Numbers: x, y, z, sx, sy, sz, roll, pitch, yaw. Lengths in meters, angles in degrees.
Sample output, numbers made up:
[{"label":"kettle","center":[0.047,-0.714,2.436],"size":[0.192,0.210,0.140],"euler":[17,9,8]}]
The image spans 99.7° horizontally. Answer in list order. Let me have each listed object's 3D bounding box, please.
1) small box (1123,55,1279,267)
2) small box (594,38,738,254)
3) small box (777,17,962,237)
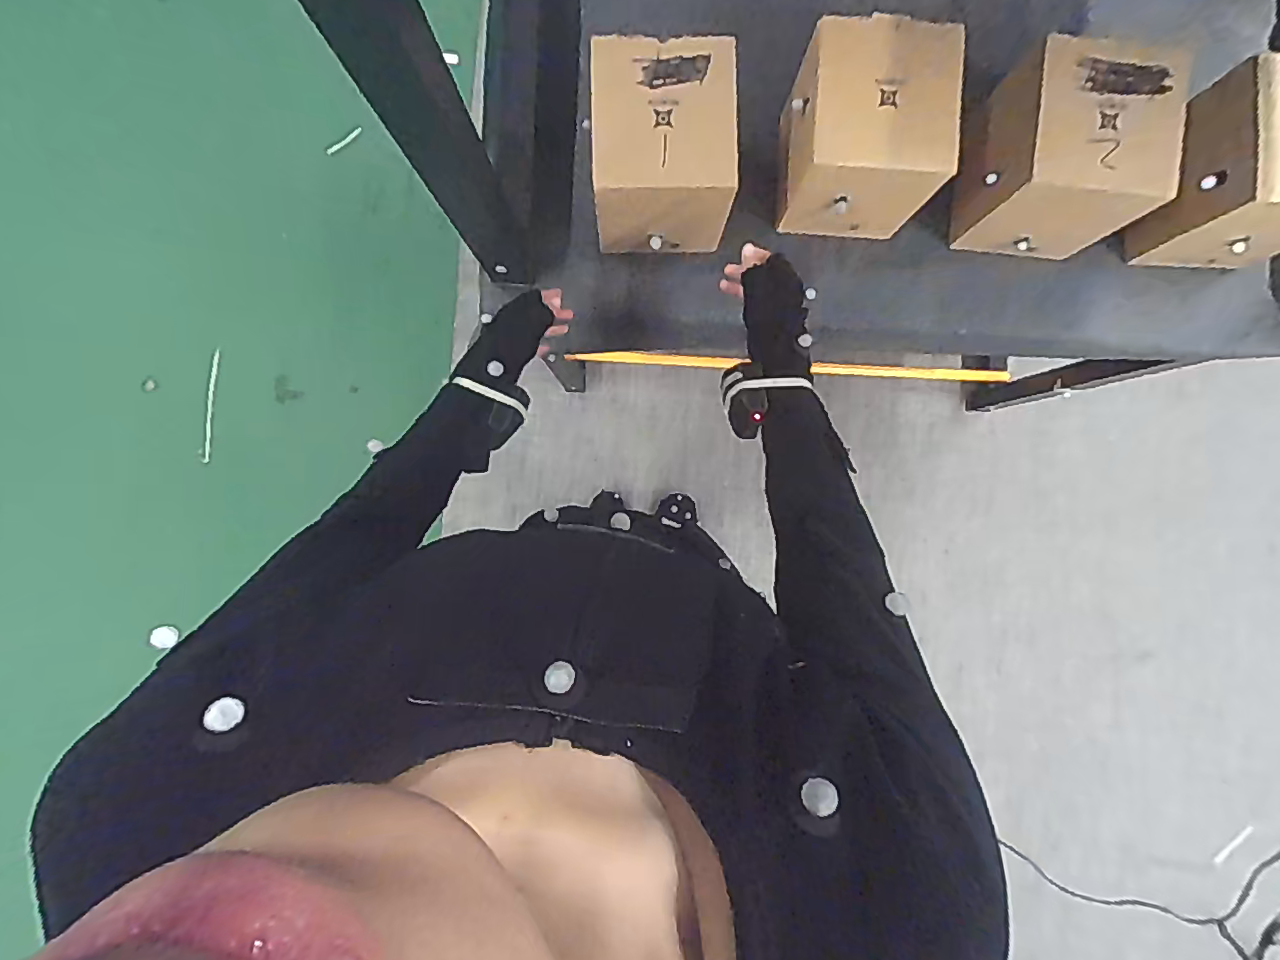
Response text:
[{"label":"small box","center":[0.772,-0.392,0.694],"size":[0.168,0.176,0.179],"euler":[2,87,-1]},{"label":"small box","center":[0.028,-0.413,0.692],"size":[0.168,0.176,0.179],"euler":[-1,89,0]},{"label":"small box","center":[0.281,-0.436,0.696],"size":[0.168,0.176,0.179],"euler":[4,88,-1]}]
